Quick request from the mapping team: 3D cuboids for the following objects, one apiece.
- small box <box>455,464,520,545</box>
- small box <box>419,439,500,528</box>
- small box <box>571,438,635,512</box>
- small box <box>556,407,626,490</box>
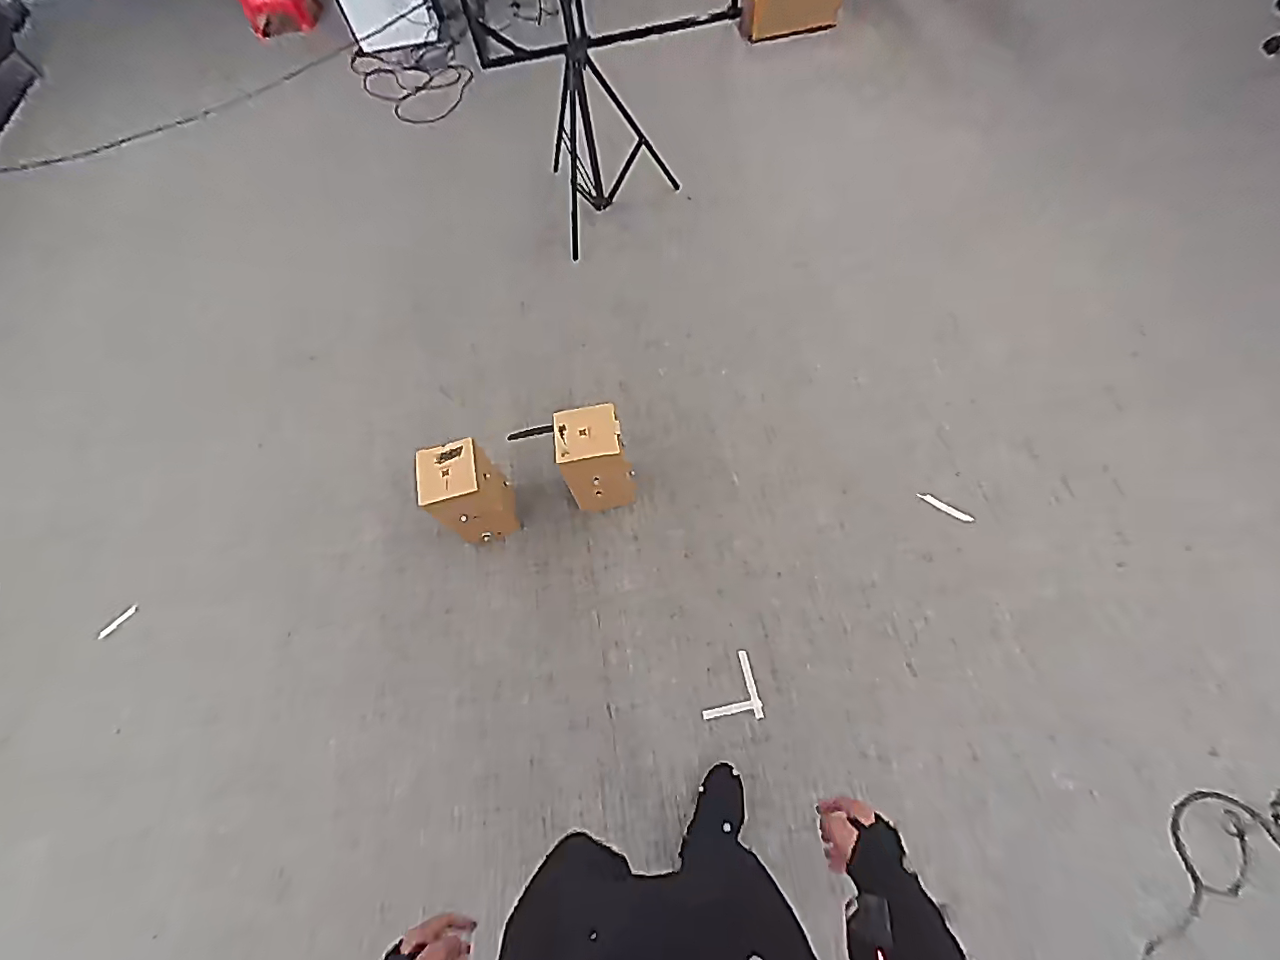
[{"bbox_3d":[-0.488,0.080,1.691,0.168,0.176,0.179,-16,63,-1],"label":"small box"},{"bbox_3d":[-0.512,0.013,1.543,0.168,0.176,0.179,-15,63,0],"label":"small box"},{"bbox_3d":[-0.118,-0.011,1.693,0.179,0.176,0.168,-9,63,1],"label":"small box"},{"bbox_3d":[-0.135,-0.085,1.547,0.179,0.176,0.168,-8,62,1],"label":"small box"}]
